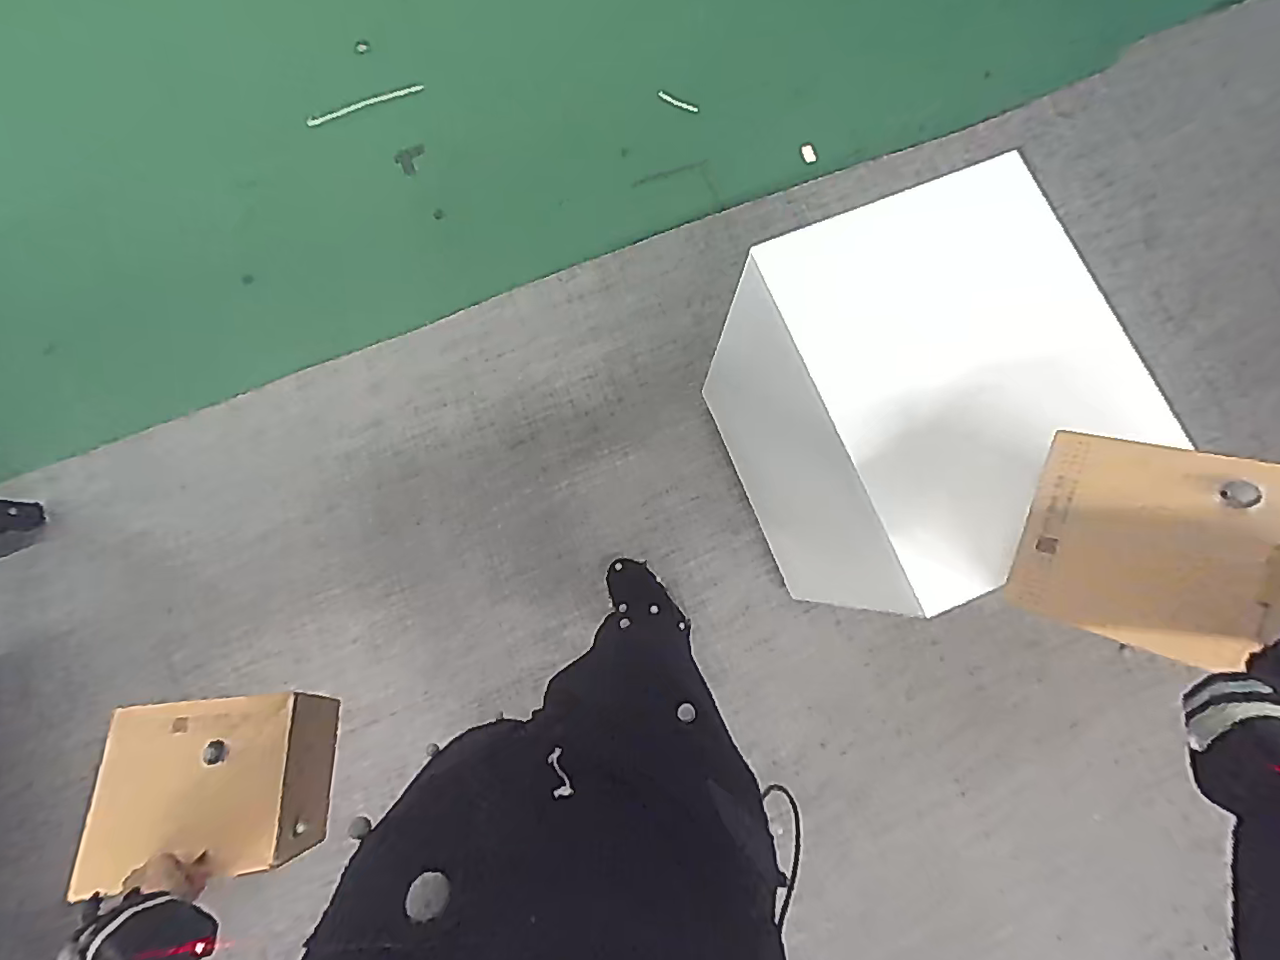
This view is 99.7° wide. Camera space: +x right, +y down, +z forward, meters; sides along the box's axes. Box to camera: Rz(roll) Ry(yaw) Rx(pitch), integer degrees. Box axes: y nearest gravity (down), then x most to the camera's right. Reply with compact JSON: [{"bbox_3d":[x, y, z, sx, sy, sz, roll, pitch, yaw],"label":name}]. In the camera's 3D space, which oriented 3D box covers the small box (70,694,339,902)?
[{"bbox_3d":[-0.458,0.338,0.609,0.168,0.179,0.176,0,66,-13],"label":"small box"}]
